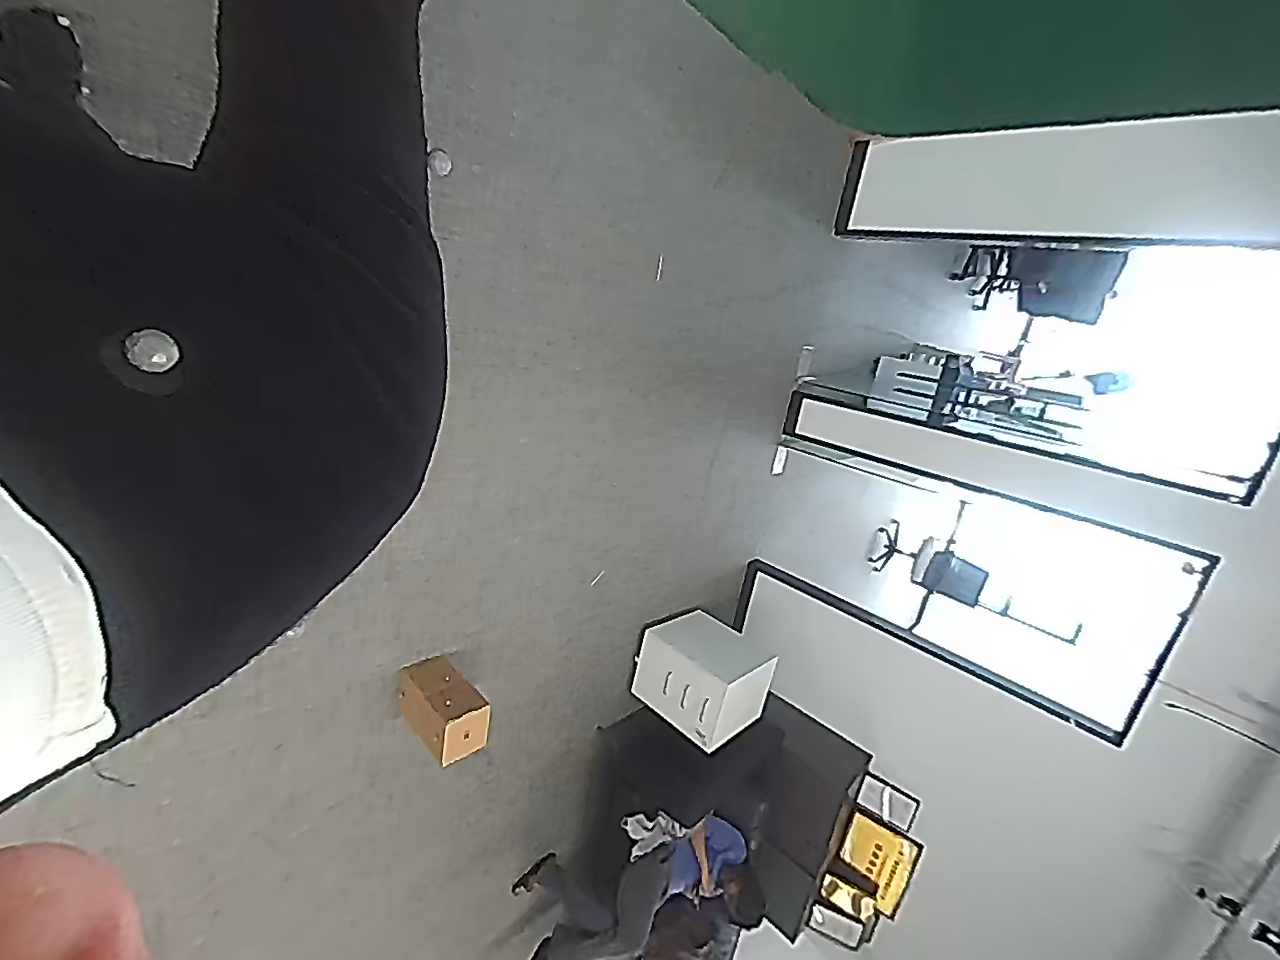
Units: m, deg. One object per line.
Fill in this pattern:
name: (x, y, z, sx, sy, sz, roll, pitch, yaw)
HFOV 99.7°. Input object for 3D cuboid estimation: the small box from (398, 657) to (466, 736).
small box: (-0.752, 0.770, 1.942, 0.168, 0.176, 0.179, -6, 113, -49)

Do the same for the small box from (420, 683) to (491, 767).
small box: (-0.633, 0.822, 1.844, 0.168, 0.176, 0.179, -9, 116, -47)
